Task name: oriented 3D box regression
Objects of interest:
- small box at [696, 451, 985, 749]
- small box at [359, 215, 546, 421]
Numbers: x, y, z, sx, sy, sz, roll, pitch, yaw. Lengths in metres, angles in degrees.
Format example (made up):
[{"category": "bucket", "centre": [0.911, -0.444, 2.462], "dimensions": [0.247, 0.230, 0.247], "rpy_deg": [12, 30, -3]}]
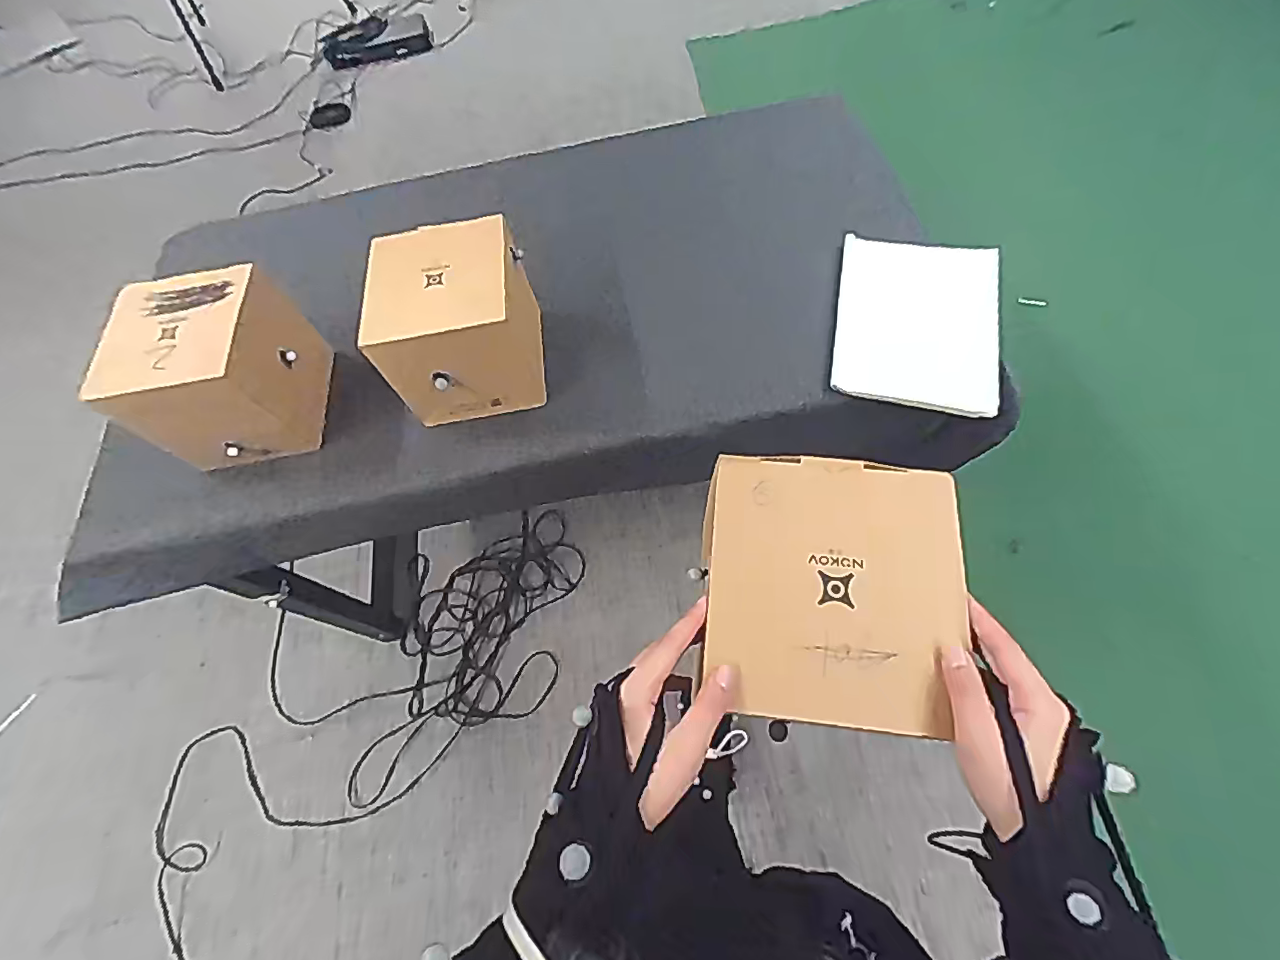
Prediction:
[{"category": "small box", "centre": [0.133, 0.096, 0.422], "dimensions": [0.168, 0.176, 0.179], "rpy_deg": [5, 70, 6]}, {"category": "small box", "centre": [-0.220, -0.190, 0.678], "dimensions": [0.168, 0.176, 0.179], "rpy_deg": [-10, 62, 2]}]
